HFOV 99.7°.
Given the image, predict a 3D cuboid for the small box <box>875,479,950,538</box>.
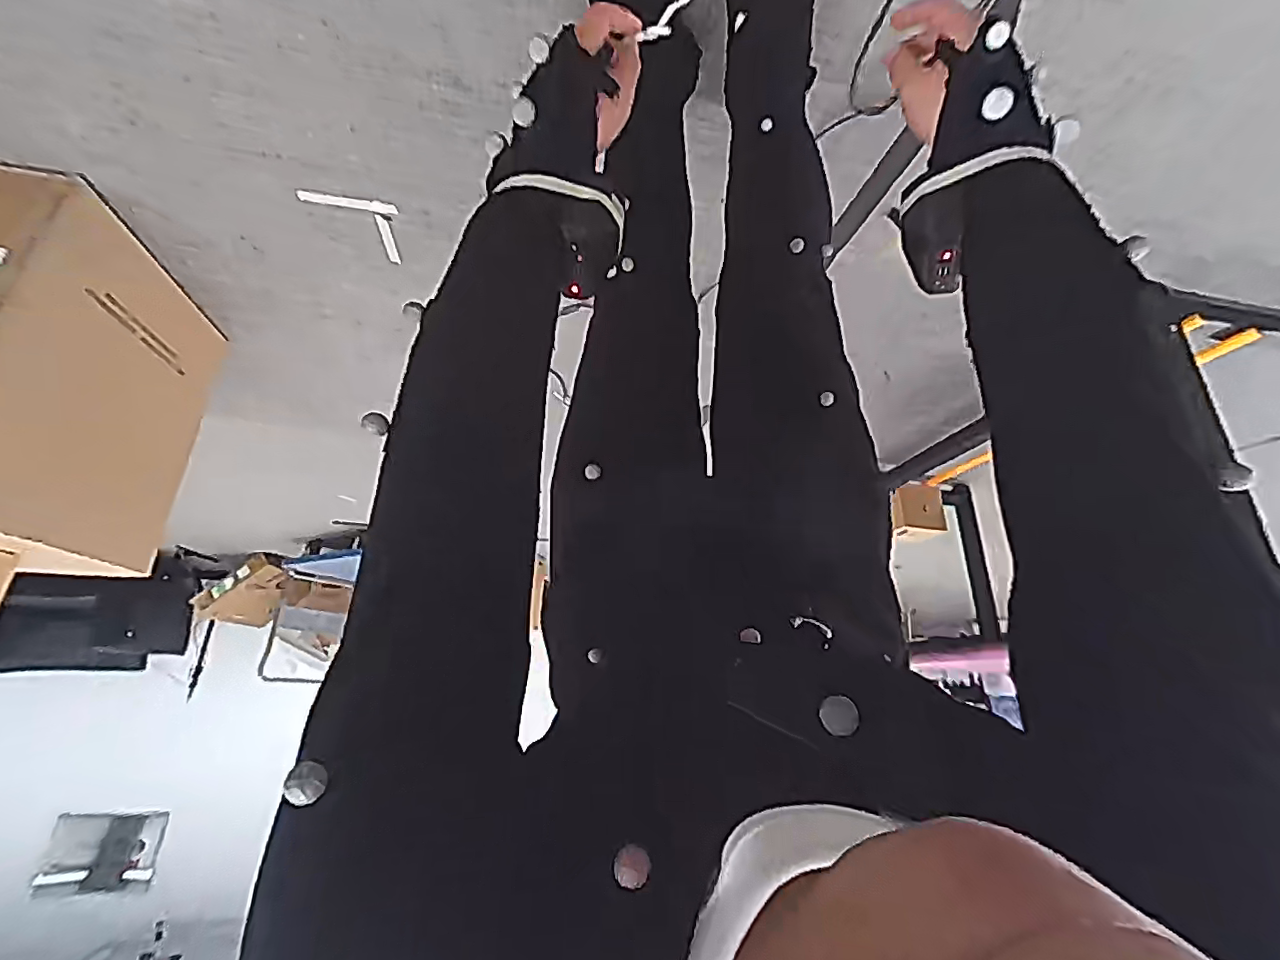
[{"bbox_3d":[0.989,0.104,1.978,0.179,0.176,0.168,5,158,-12],"label":"small box"}]
